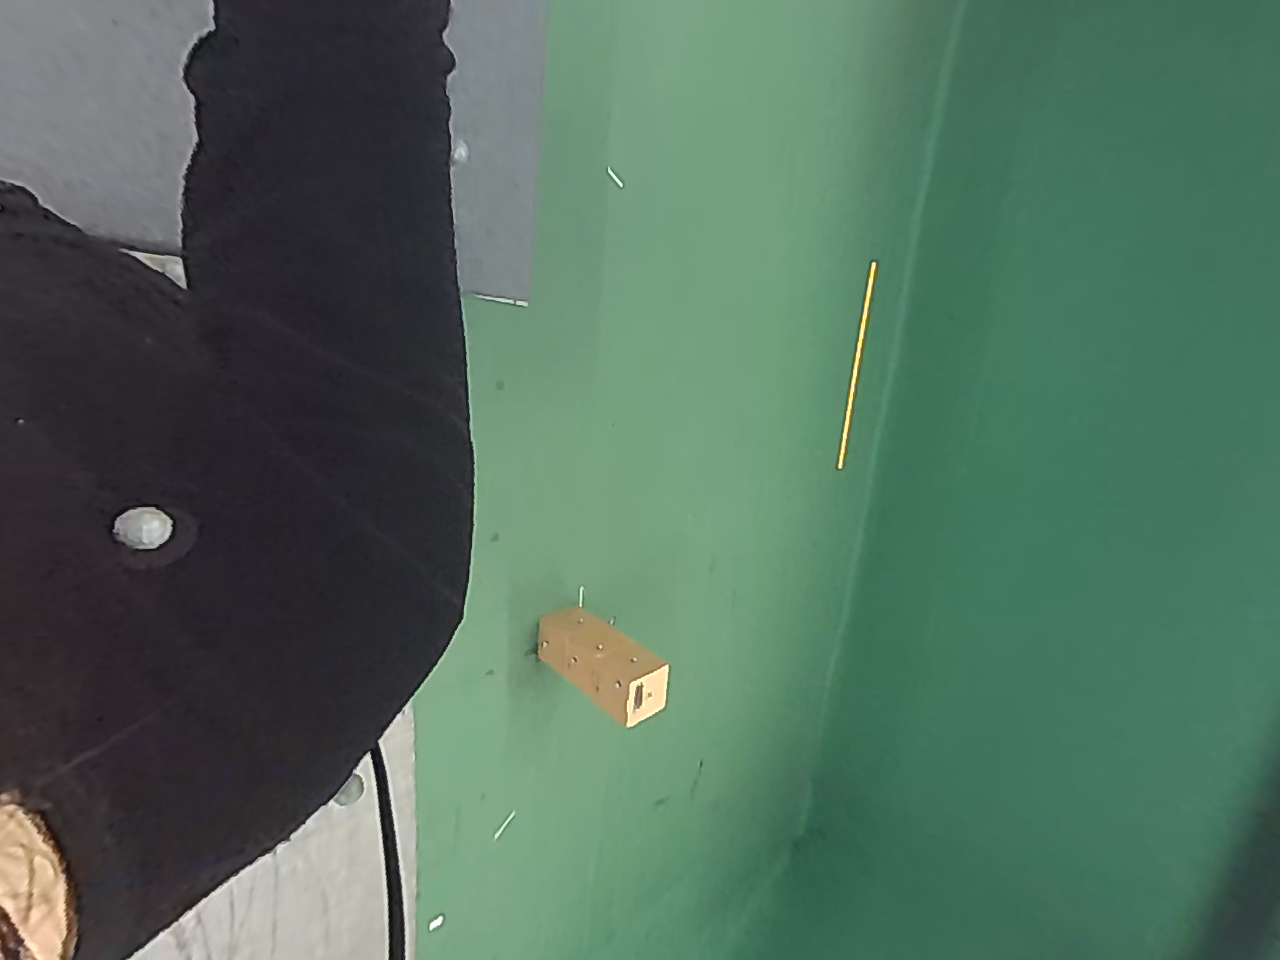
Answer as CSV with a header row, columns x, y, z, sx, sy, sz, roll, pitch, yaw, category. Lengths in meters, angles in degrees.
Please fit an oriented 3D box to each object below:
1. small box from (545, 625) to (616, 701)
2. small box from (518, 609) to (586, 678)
x,y,z,sx,sy,sz,roll,pitch,yaw,category
-0.208,0.630,1.890,0.179,0.176,0.168,-8,109,-46,small box
-0.325,0.594,1.996,0.179,0.176,0.168,-7,107,-46,small box
